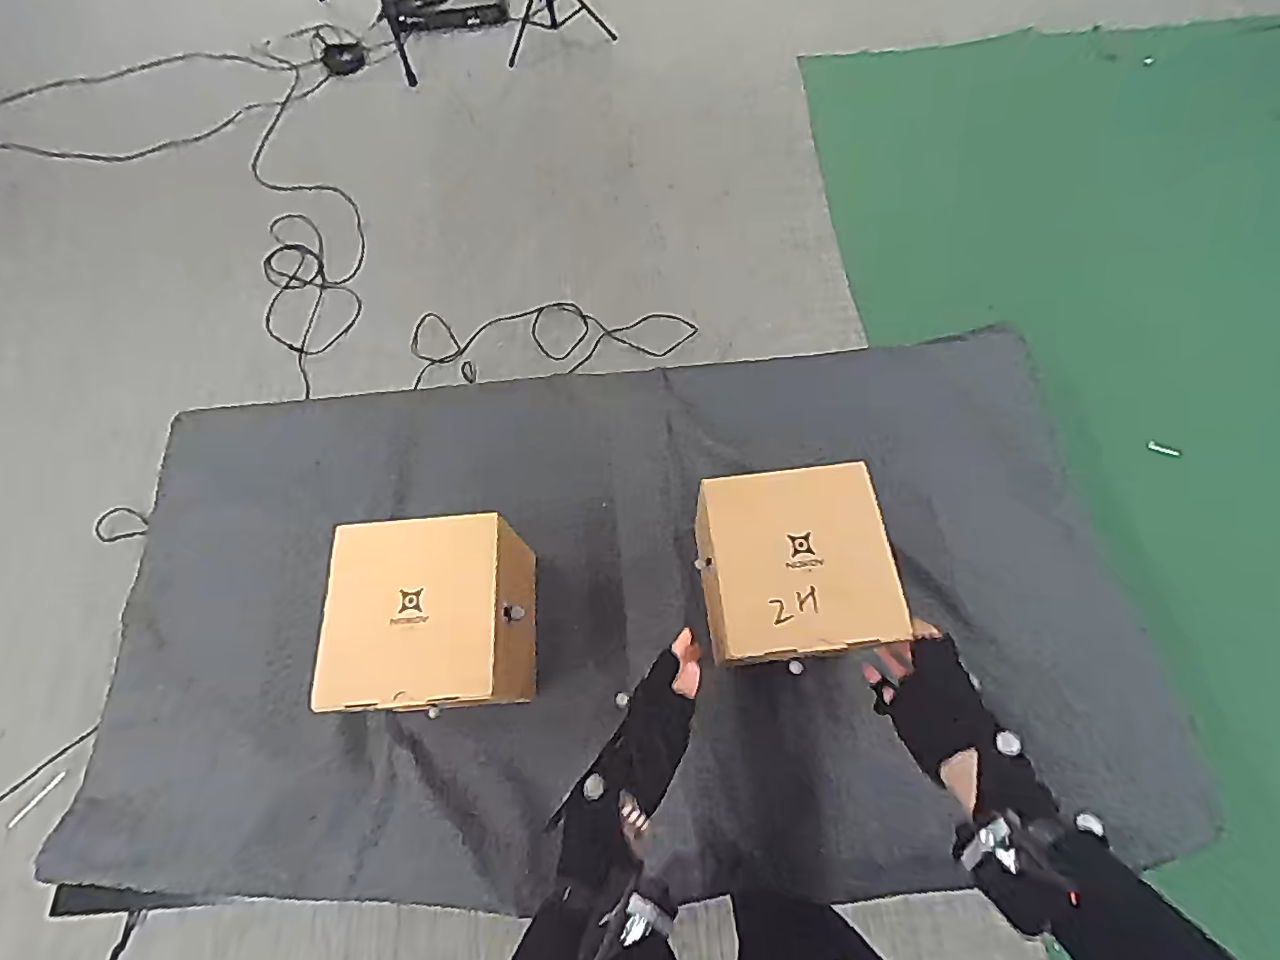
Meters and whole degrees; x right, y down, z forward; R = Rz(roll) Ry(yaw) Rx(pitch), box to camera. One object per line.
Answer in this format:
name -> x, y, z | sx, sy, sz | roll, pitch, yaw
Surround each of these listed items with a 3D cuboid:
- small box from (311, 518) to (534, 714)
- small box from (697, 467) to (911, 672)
small box -> -0.213, 0.153, 0.584 | 0.168, 0.176, 0.179 | -4, 68, 0
small box -> 0.155, 0.104, 0.582 | 0.168, 0.176, 0.179 | -6, 68, 1
